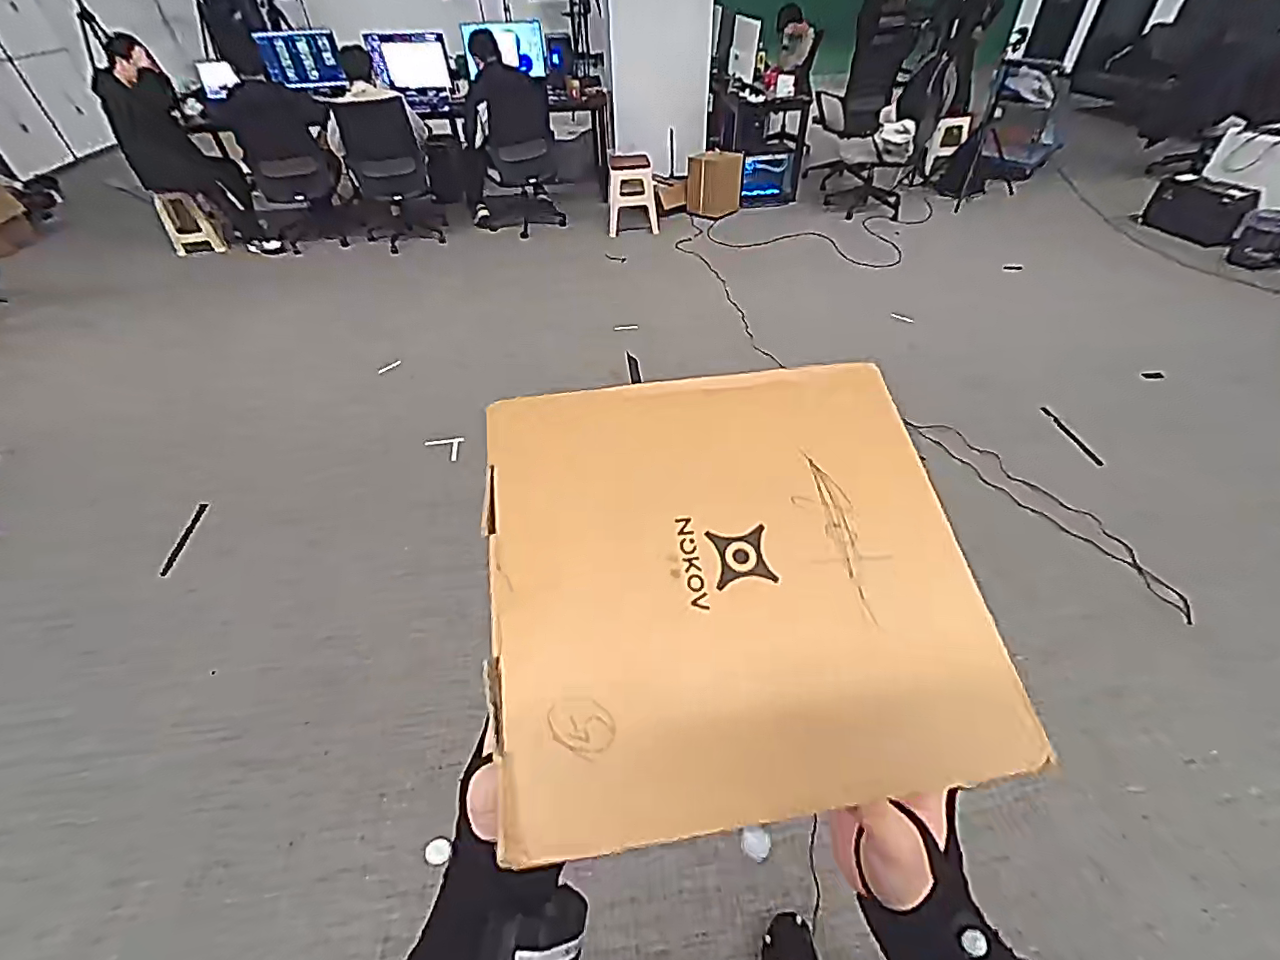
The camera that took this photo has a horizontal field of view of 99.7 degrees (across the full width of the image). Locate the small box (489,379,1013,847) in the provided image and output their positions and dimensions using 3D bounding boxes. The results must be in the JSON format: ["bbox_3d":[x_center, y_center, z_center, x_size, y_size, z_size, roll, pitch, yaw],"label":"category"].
[{"bbox_3d":[0.029,0.072,0.283,0.179,0.176,0.168,-8,63,-6],"label":"small box"}]
